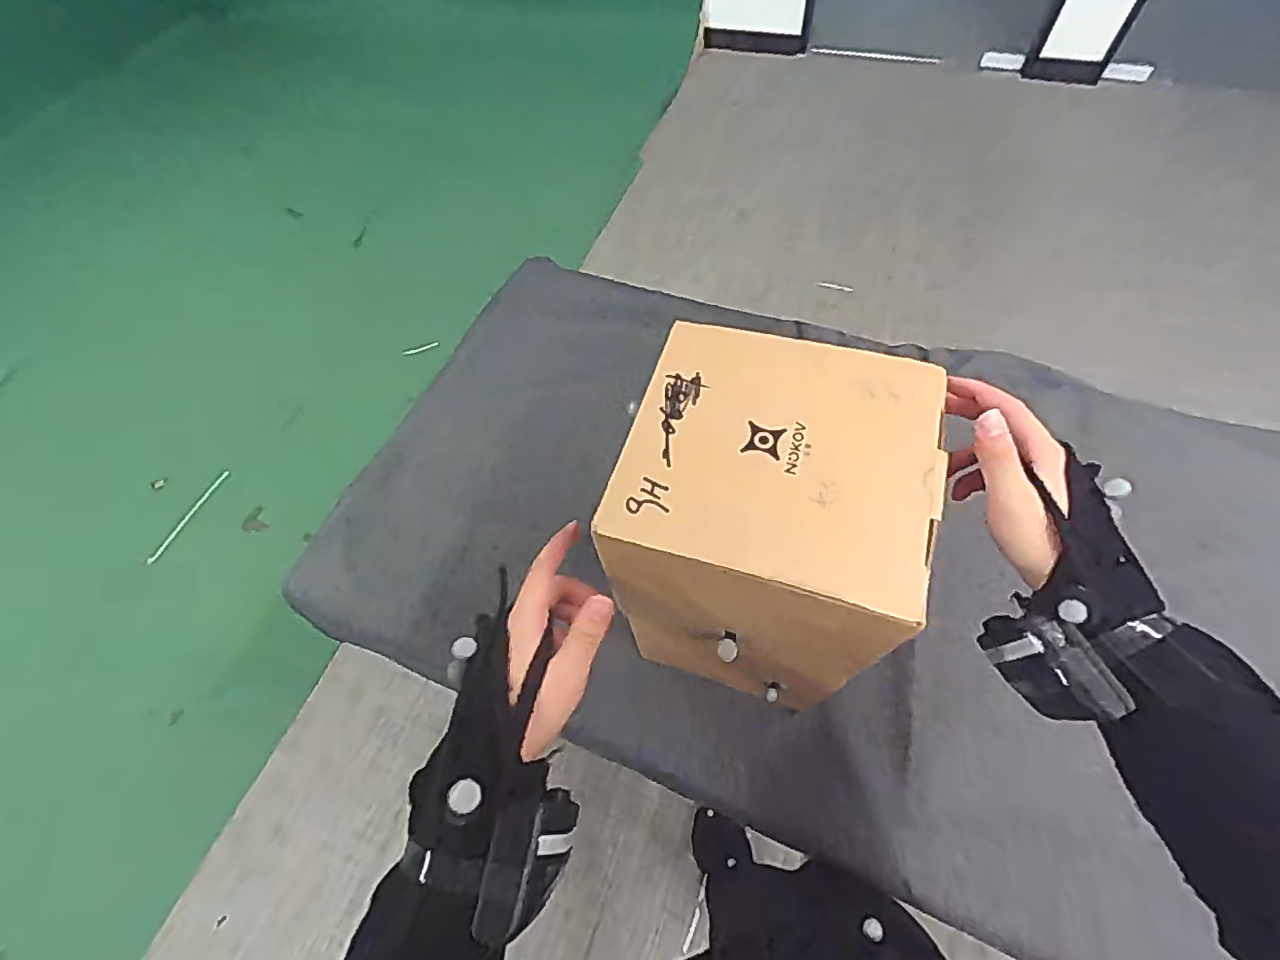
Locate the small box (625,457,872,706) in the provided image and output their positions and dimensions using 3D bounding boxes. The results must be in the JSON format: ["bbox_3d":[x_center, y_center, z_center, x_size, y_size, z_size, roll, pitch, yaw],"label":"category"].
[{"bbox_3d":[0.101,0.106,0.523,0.179,0.176,0.168,14,62,13],"label":"small box"}]
